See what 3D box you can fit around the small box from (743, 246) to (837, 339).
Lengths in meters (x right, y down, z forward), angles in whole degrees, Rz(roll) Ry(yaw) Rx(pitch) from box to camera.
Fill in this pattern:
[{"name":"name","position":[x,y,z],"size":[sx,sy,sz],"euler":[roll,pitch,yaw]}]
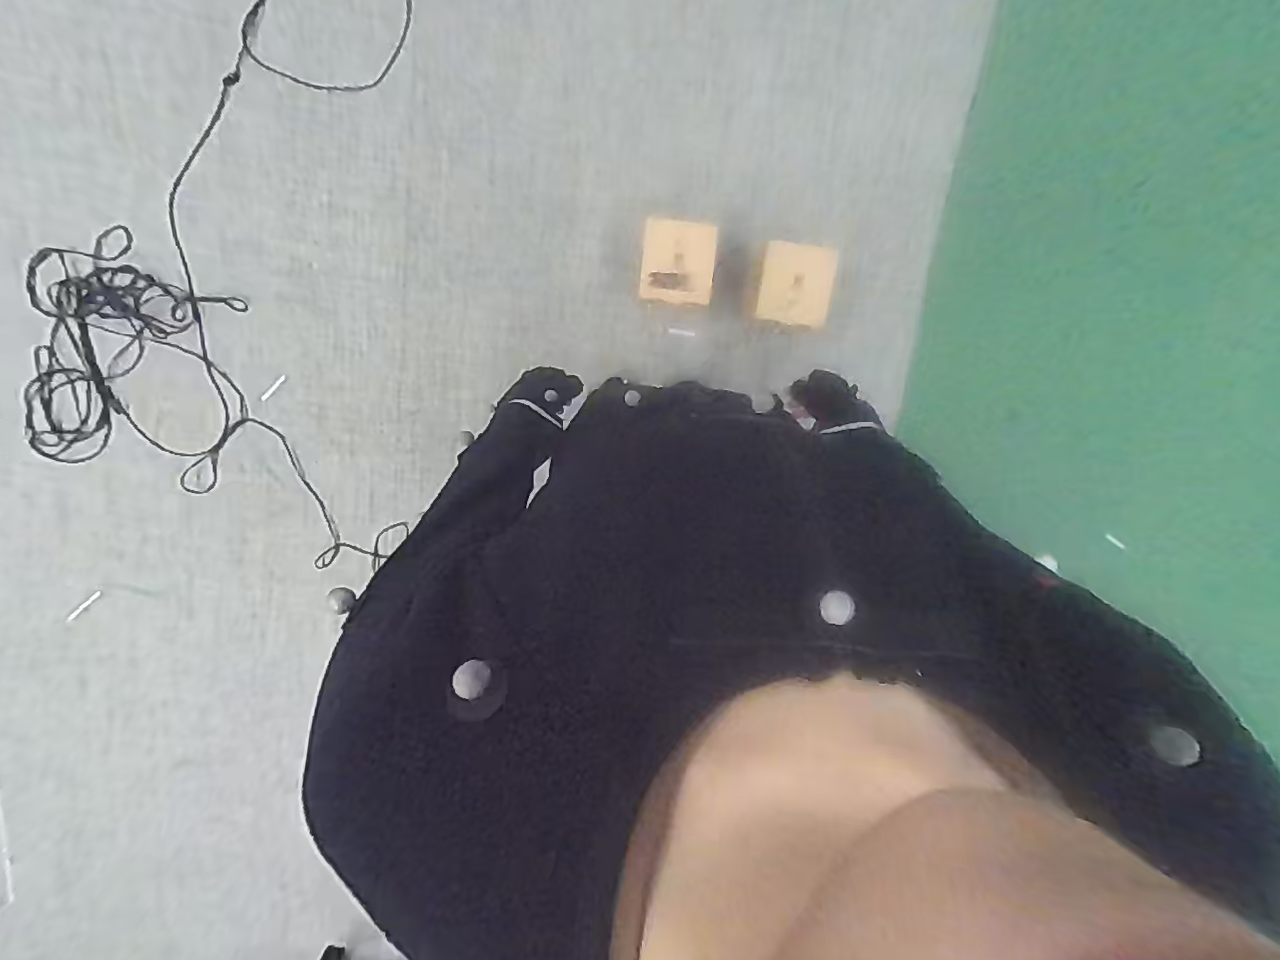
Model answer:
[{"name":"small box","position":[0.358,-0.452,1.326],"size":[0.168,0.176,0.179],"euler":[9,101,-1]}]
